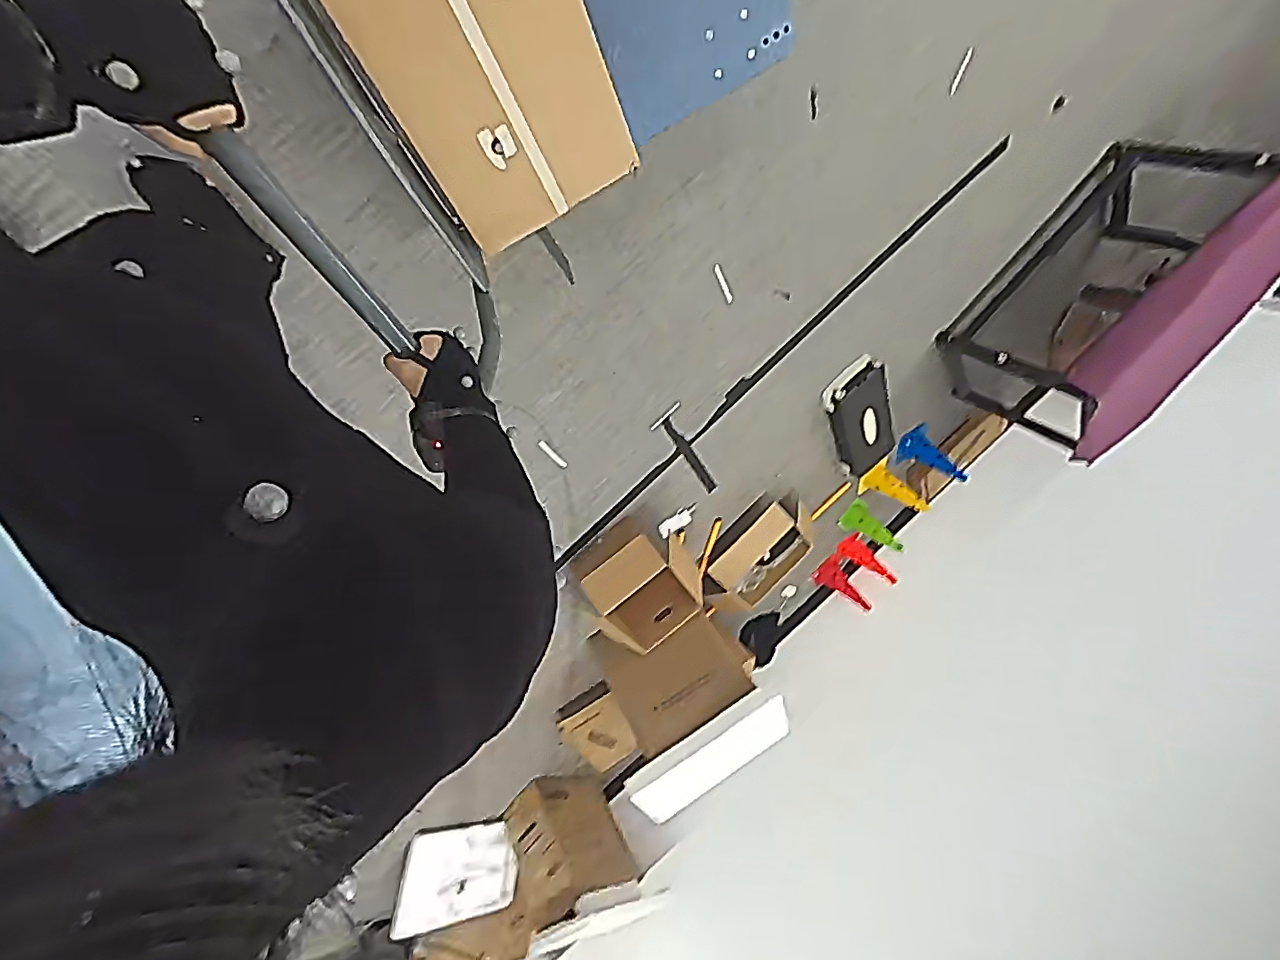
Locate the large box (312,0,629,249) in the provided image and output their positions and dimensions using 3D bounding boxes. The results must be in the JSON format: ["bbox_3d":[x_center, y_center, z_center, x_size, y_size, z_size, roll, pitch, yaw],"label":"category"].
[{"bbox_3d":[-0.273,-0.686,0.892,0.320,0.320,0.408,-29,138,2],"label":"large box"}]
